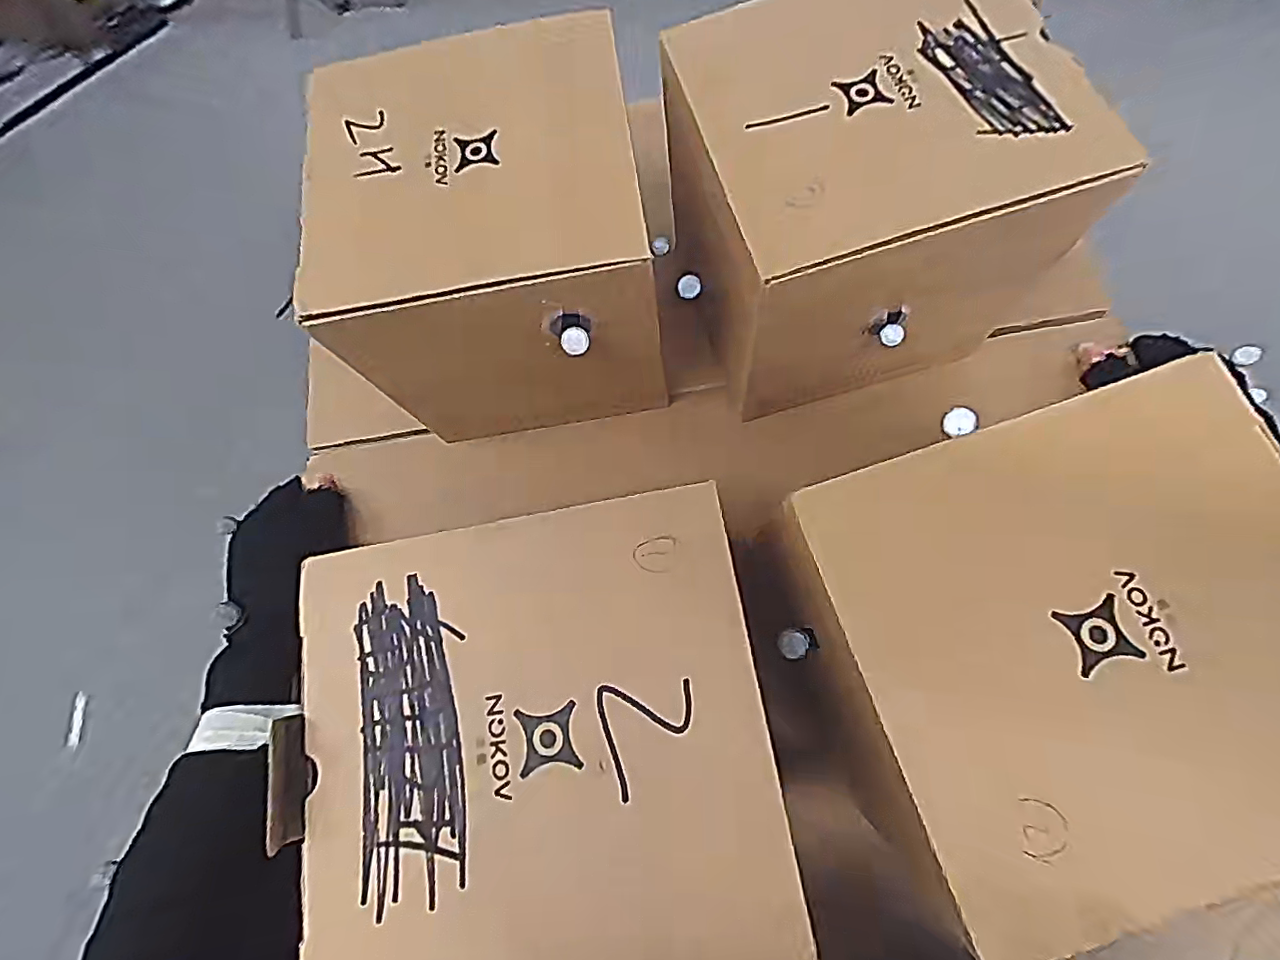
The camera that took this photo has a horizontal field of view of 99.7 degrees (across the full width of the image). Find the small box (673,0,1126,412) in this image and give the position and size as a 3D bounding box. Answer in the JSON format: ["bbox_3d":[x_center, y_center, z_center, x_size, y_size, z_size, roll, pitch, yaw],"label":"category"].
[{"bbox_3d":[0.128,-0.165,0.346,0.179,0.176,0.168,-16,72,3],"label":"small box"}]

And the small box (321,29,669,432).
[{"bbox_3d":[-0.075,-0.145,0.366,0.179,0.176,0.168,-8,72,5],"label":"small box"}]
